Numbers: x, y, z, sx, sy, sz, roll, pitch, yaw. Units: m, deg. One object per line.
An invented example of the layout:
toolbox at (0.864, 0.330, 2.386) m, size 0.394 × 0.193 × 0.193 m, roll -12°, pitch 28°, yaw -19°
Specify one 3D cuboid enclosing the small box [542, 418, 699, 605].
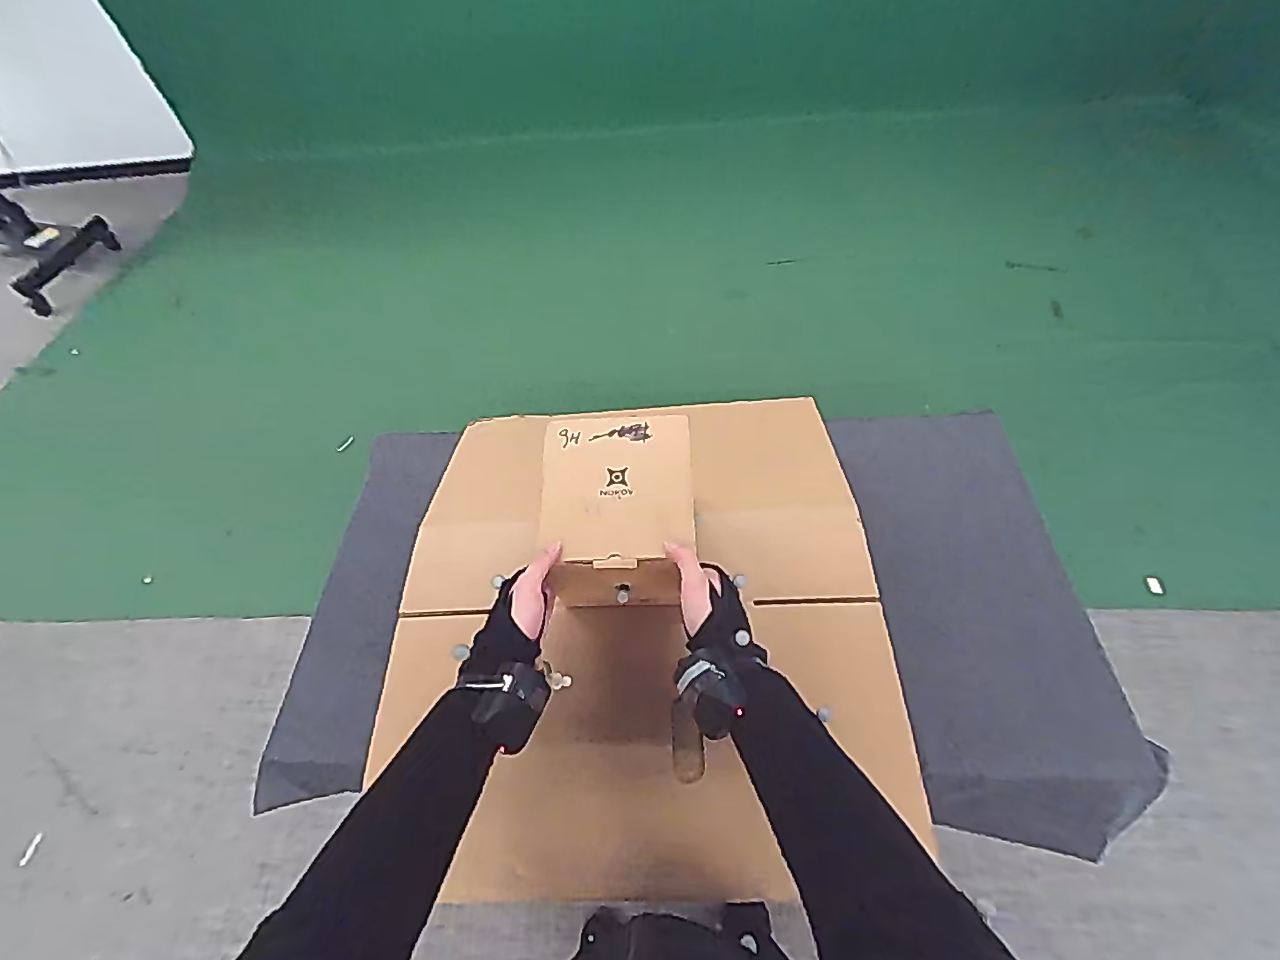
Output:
small box at (-0.016, 0.048, 0.658) m, size 0.168 × 0.176 × 0.179 m, roll -4°, pitch 62°, yaw 3°
